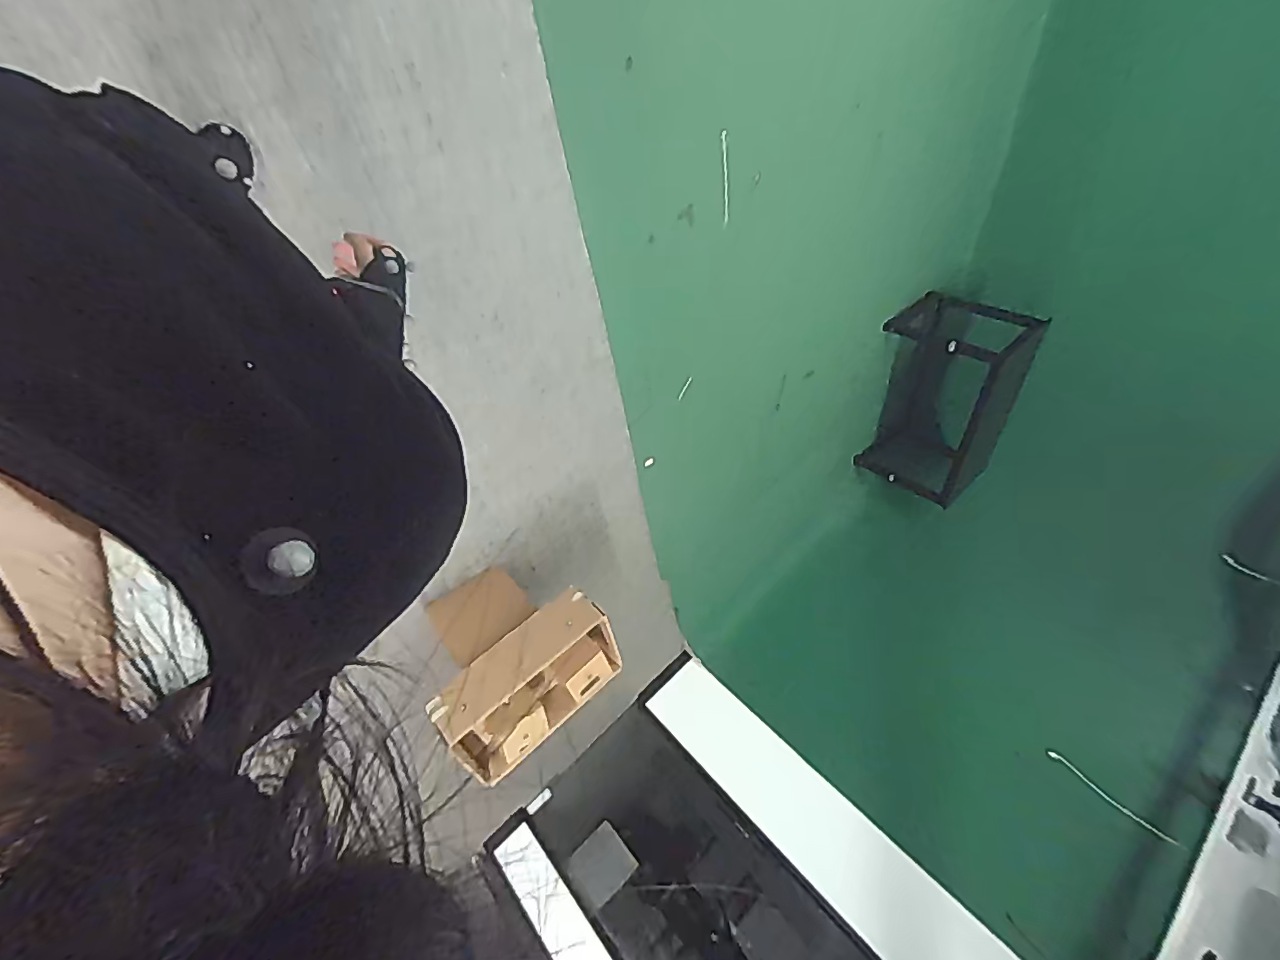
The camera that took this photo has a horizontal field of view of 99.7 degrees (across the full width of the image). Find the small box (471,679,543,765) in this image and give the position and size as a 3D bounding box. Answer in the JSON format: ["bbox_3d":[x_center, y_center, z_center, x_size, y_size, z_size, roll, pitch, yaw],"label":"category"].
[{"bbox_3d":[-0.448,0.804,1.819,0.168,0.176,0.179,-29,136,-32],"label":"small box"}]
